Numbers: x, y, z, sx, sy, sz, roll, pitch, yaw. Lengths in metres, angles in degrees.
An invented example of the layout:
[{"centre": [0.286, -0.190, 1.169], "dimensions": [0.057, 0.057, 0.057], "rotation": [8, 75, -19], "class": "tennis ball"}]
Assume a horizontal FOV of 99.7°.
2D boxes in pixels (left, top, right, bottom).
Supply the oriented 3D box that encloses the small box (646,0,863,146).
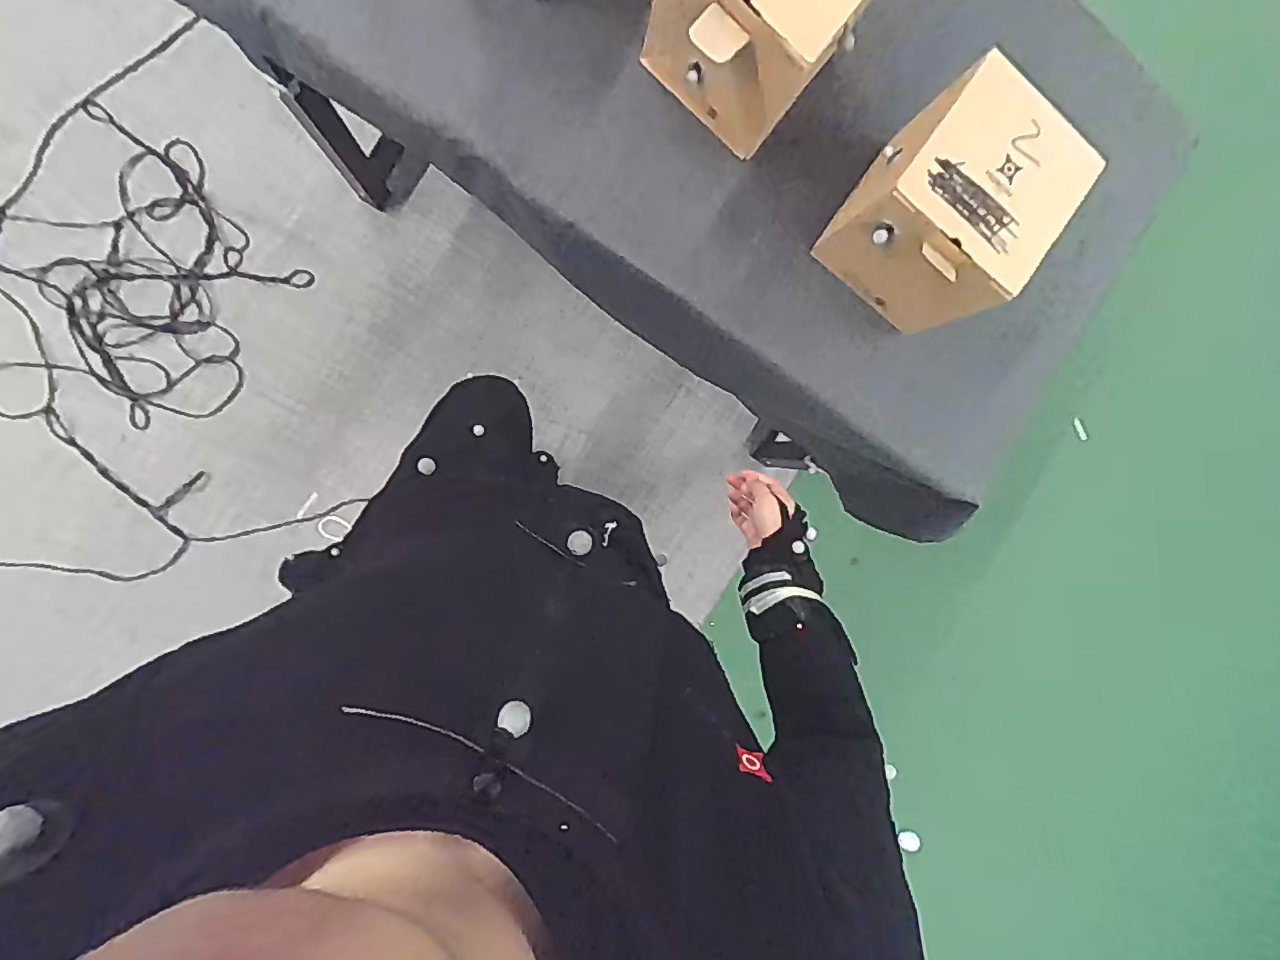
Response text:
[{"centre": [0.125, -0.492, 0.540], "dimensions": [0.168, 0.176, 0.179], "rotation": [38, 88, -11], "class": "small box"}]
